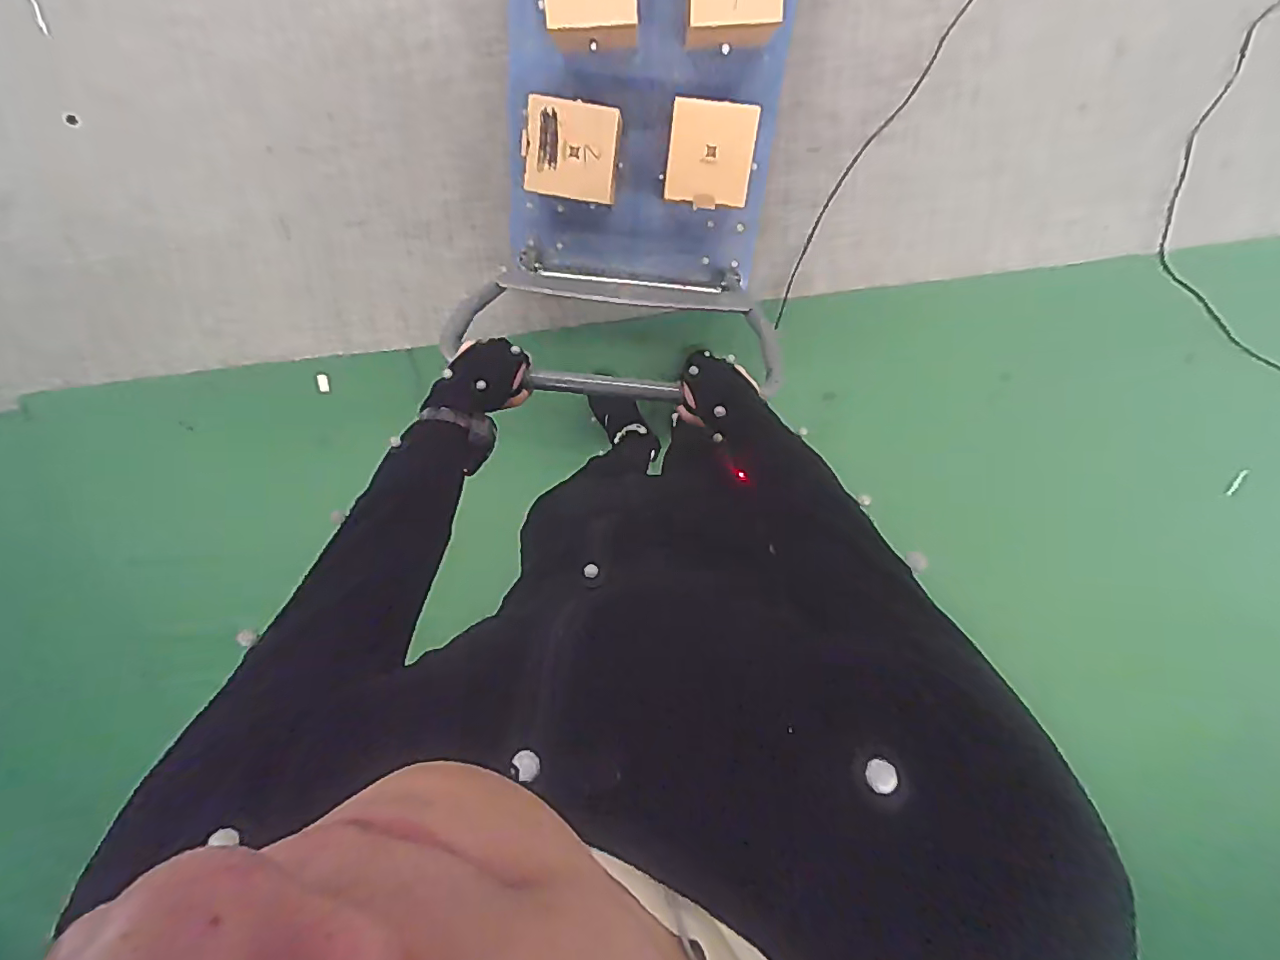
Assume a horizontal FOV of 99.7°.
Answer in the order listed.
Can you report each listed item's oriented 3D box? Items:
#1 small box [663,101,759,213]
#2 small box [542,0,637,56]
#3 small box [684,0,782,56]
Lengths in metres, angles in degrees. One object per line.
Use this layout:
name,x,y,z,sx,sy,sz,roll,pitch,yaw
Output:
small box,0.140,-0.665,1.131,0.168,0.176,0.179,5,116,-1
small box,-0.091,-0.919,1.010,0.168,0.176,0.179,-2,116,1
small box,0.168,-0.920,1.004,0.168,0.176,0.179,-1,117,2
